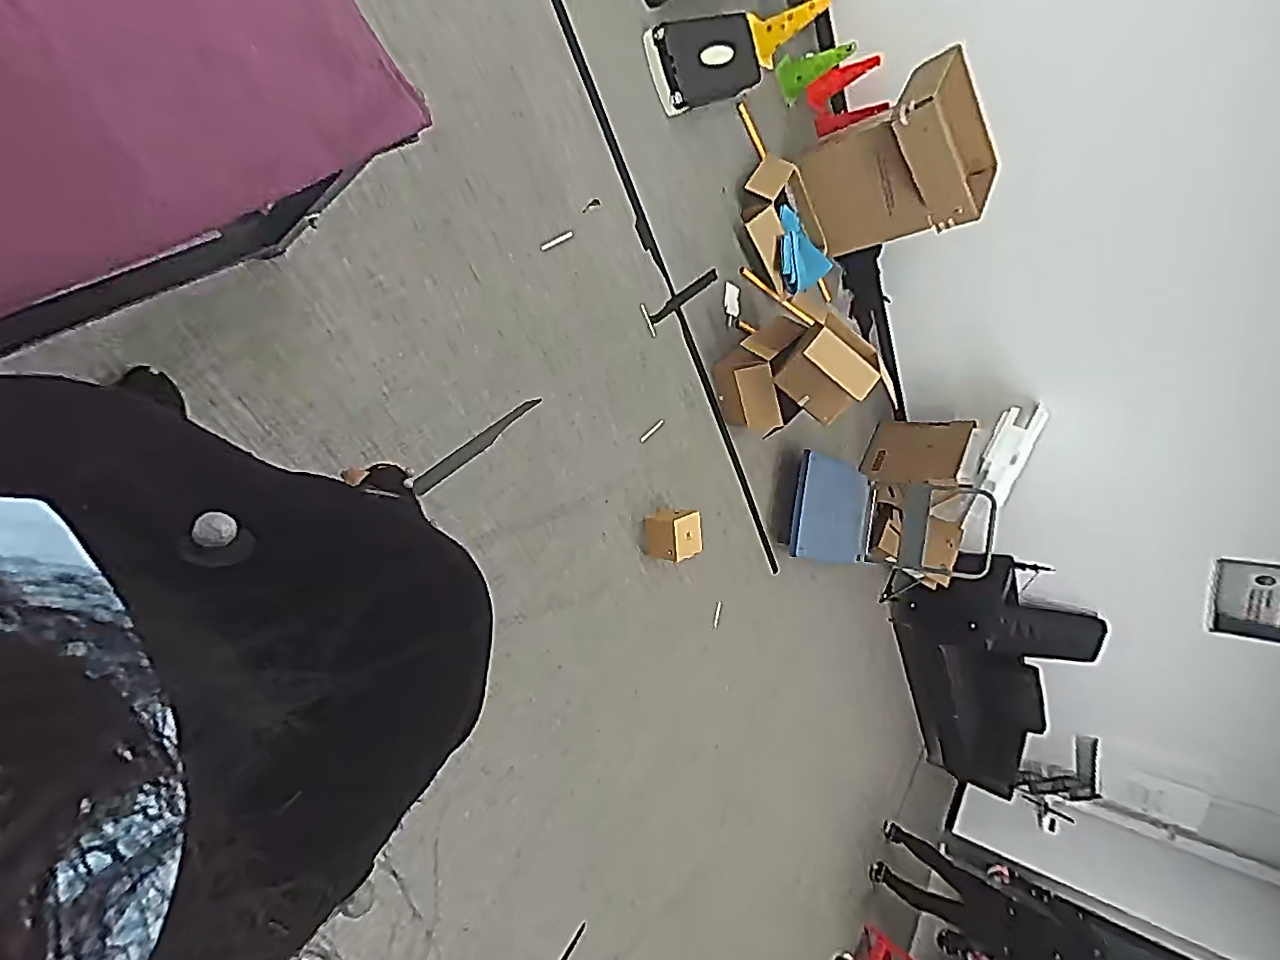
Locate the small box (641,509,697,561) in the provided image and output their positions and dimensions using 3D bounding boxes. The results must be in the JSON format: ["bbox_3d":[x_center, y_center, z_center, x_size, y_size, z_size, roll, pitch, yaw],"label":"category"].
[{"bbox_3d":[0.118,0.220,2.247,0.168,0.176,0.179,-16,106,-44],"label":"small box"}]
